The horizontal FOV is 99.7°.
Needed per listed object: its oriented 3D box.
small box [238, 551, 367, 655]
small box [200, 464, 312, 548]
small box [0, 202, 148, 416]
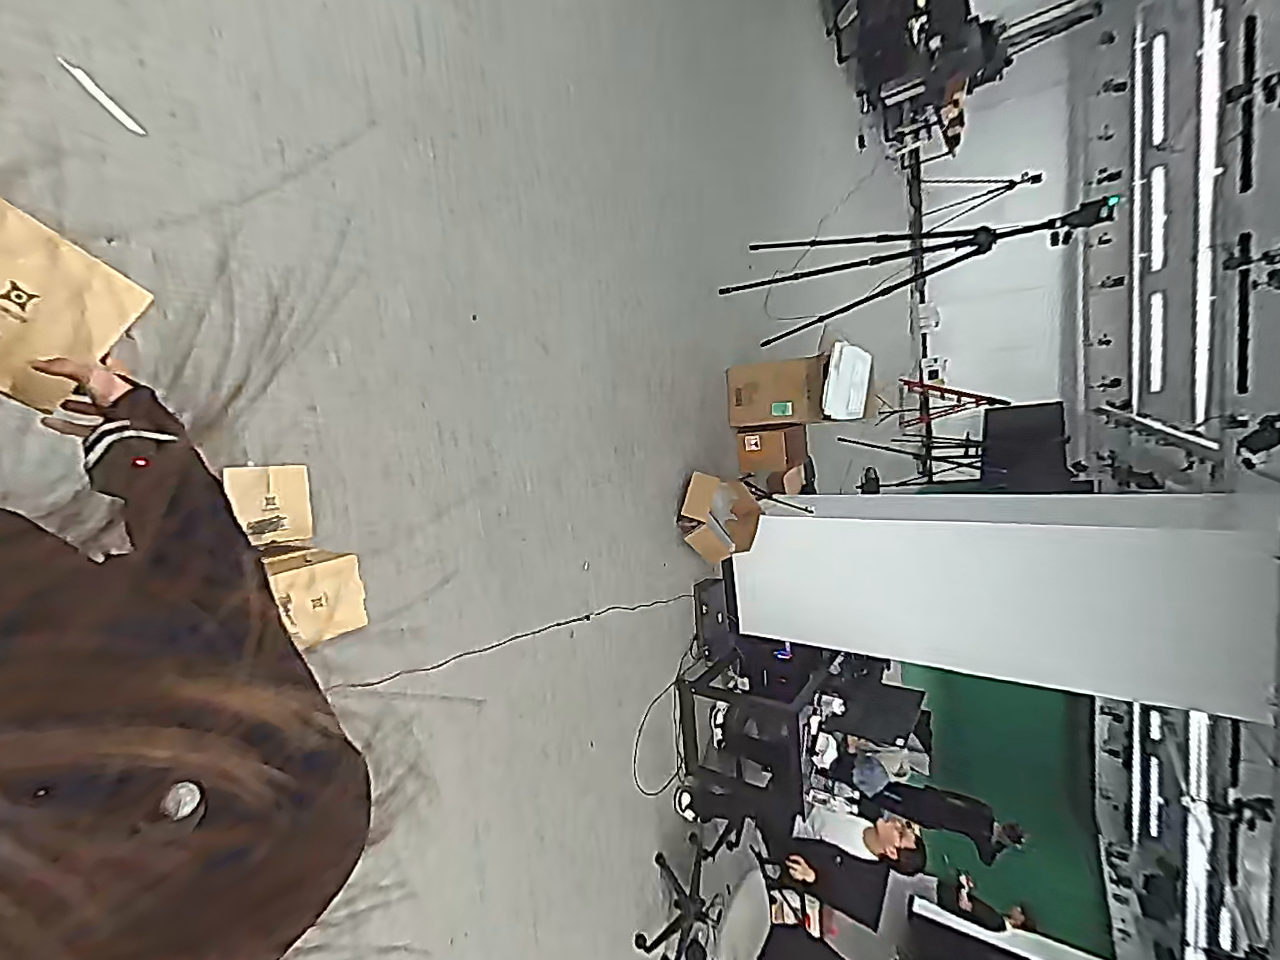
[{"bbox_3d":[-0.729,0.255,1.172,0.179,0.176,0.168,-15,101,-54],"label":"small box"},{"bbox_3d":[-0.883,0.055,1.243,0.168,0.176,0.179,-5,91,-54],"label":"small box"},{"bbox_3d":[-0.718,-0.191,0.606,0.168,0.176,0.179,43,64,-46],"label":"small box"}]
